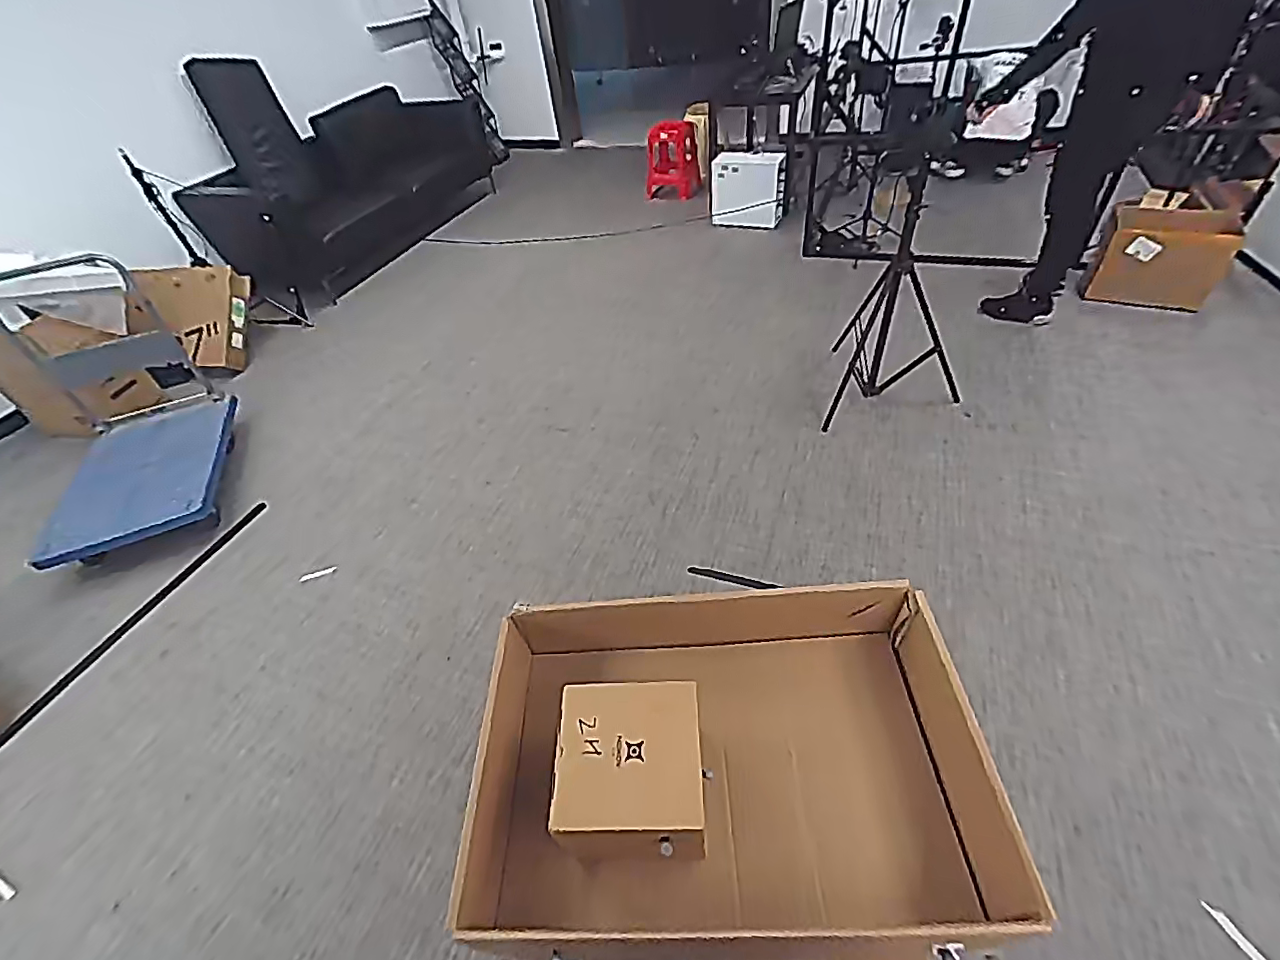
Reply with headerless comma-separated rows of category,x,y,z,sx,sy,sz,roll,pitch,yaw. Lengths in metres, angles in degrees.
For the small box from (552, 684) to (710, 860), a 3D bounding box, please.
small box,-0.003,0.380,0.703,0.179,0.176,0.168,-3,46,5
